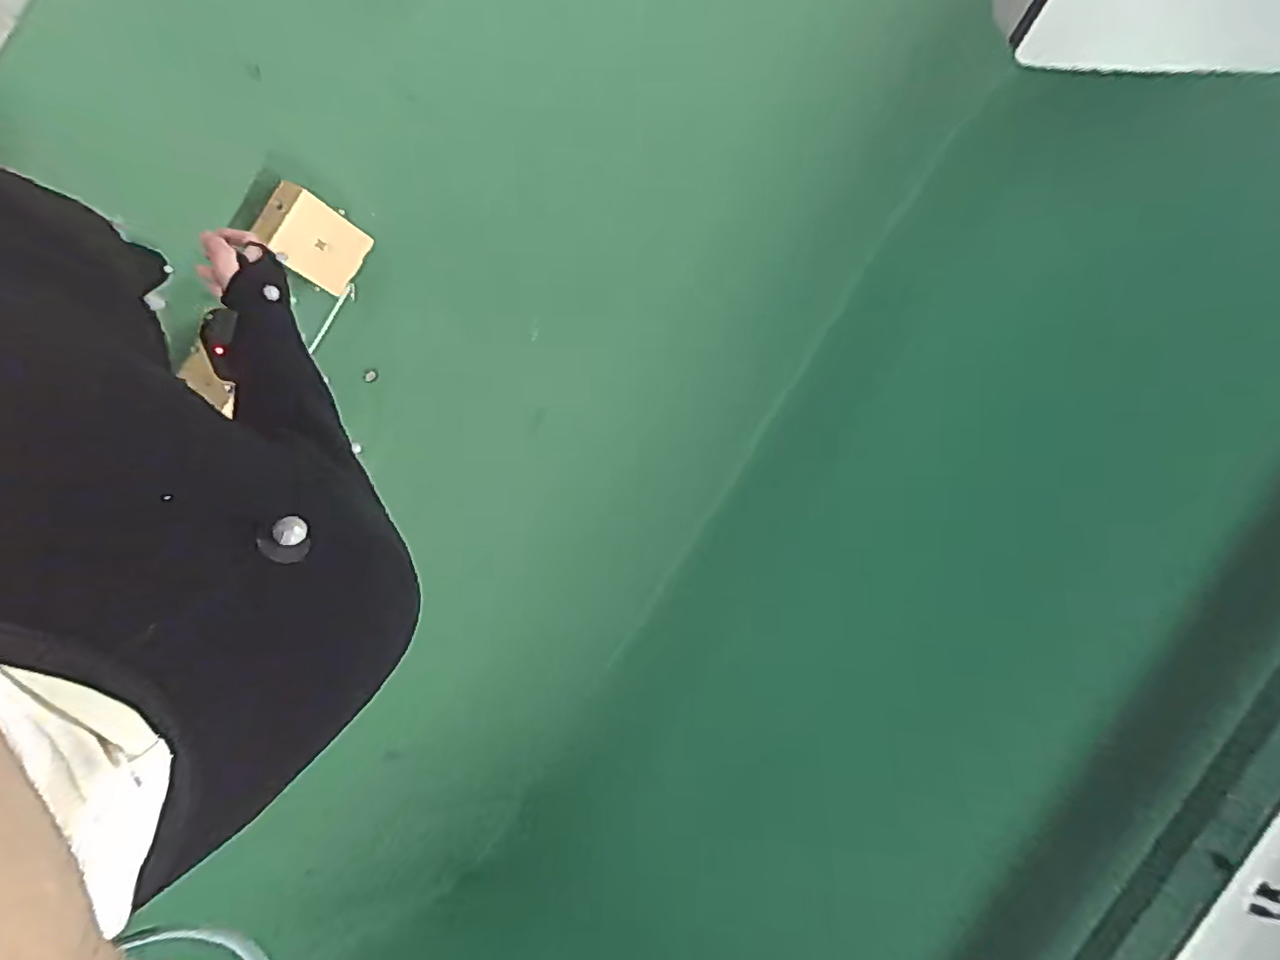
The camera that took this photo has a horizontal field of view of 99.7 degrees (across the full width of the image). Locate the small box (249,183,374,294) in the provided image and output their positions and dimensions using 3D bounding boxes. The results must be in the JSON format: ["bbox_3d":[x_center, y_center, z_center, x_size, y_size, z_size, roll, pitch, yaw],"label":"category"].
[{"bbox_3d":[-0.781,-0.575,1.280,0.168,0.176,0.179,-57,145,1],"label":"small box"}]
